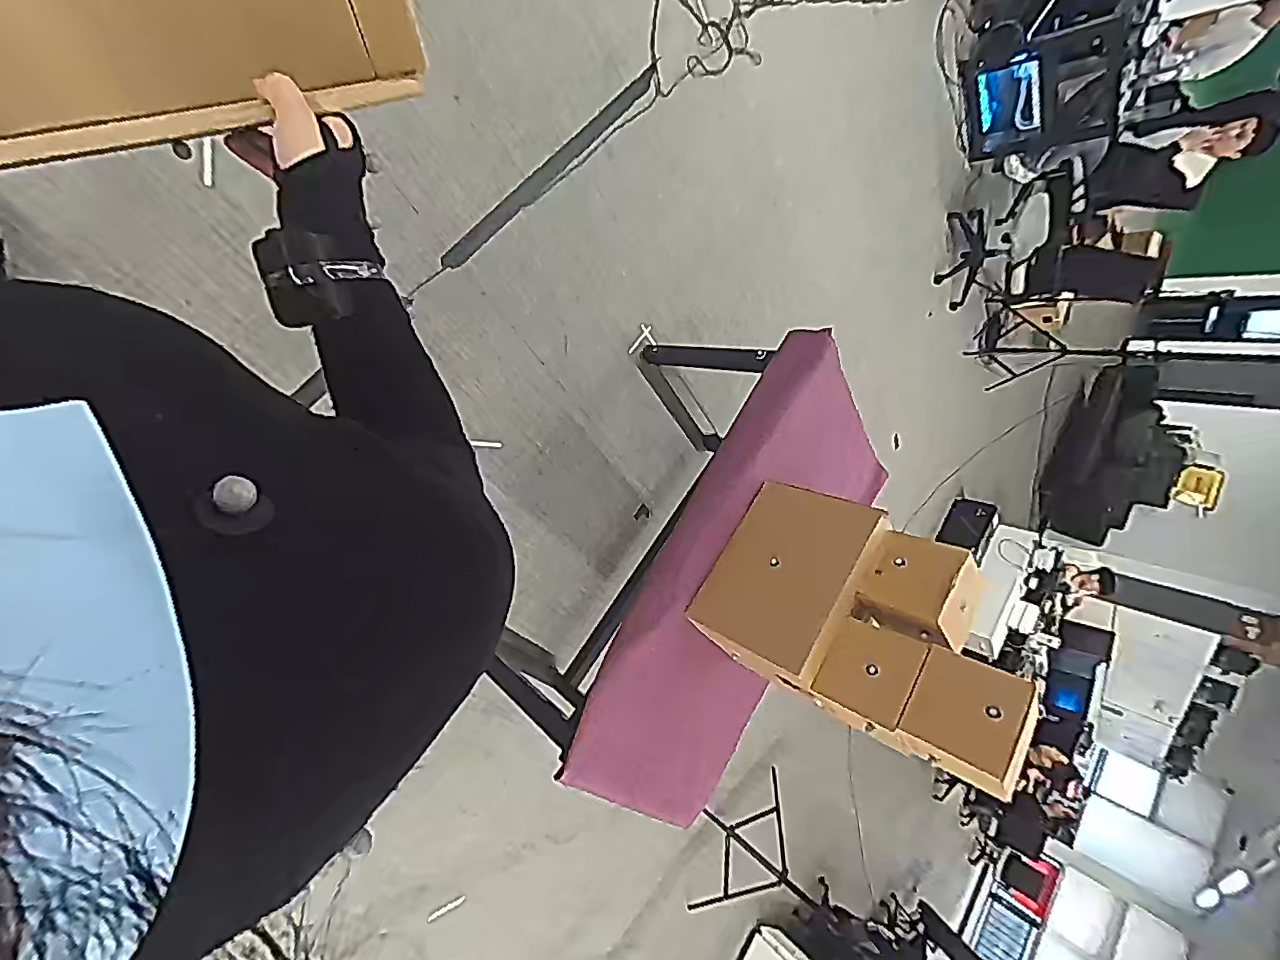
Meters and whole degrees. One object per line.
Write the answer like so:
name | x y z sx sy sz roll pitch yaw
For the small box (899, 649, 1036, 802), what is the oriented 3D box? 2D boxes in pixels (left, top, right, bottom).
small box | 0.598 0.440 0.988 0.179 0.176 0.168 -55 132 -18
